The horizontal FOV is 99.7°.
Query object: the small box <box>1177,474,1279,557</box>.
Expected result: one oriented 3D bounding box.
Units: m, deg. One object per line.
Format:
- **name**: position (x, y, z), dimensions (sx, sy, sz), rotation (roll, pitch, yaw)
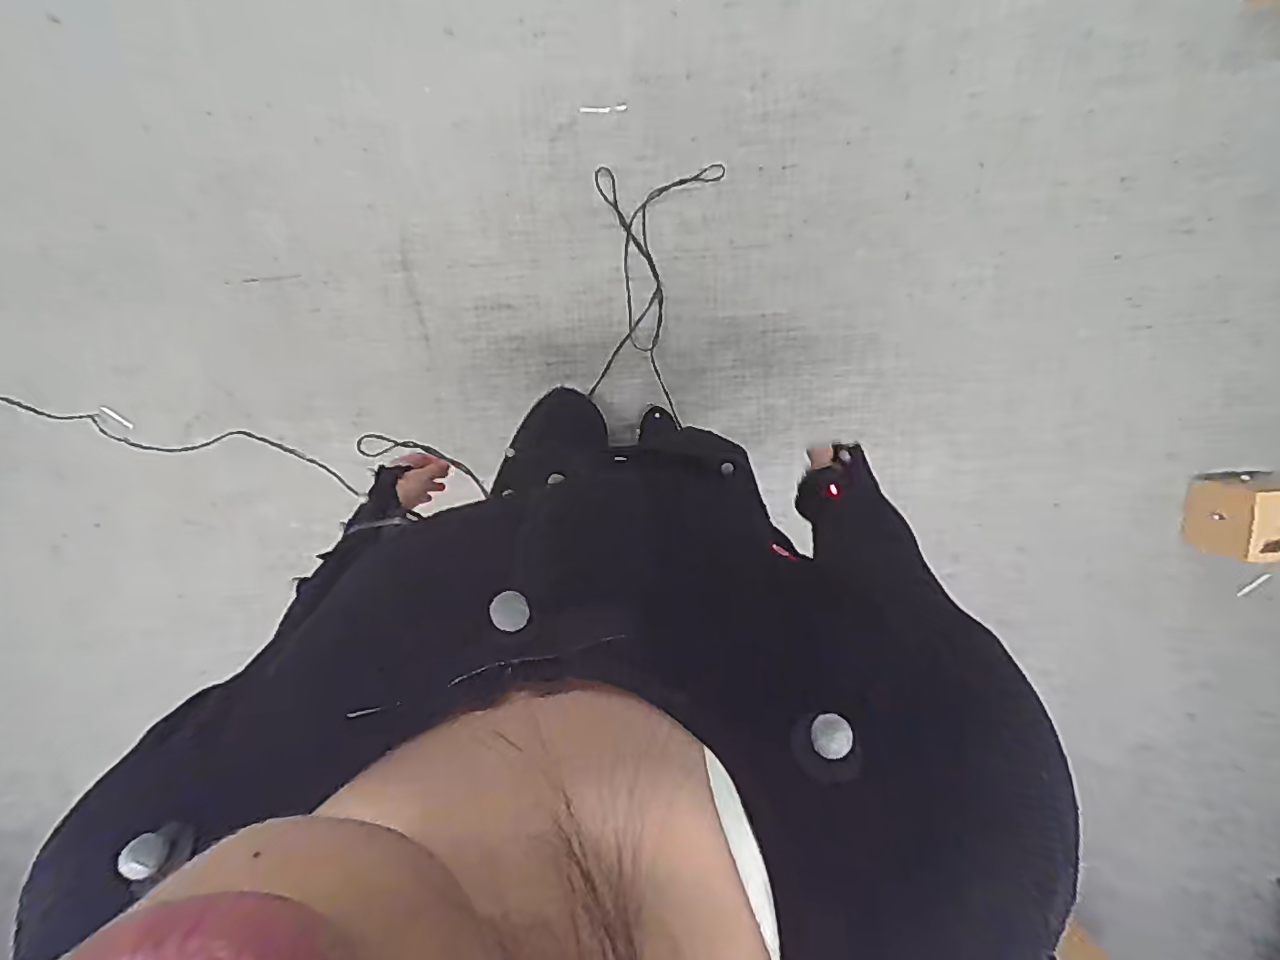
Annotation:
- **small box**: position (1.541, 0.087, 1.384), dimensions (0.168, 0.176, 0.179), rotation (-2, 101, 2)
